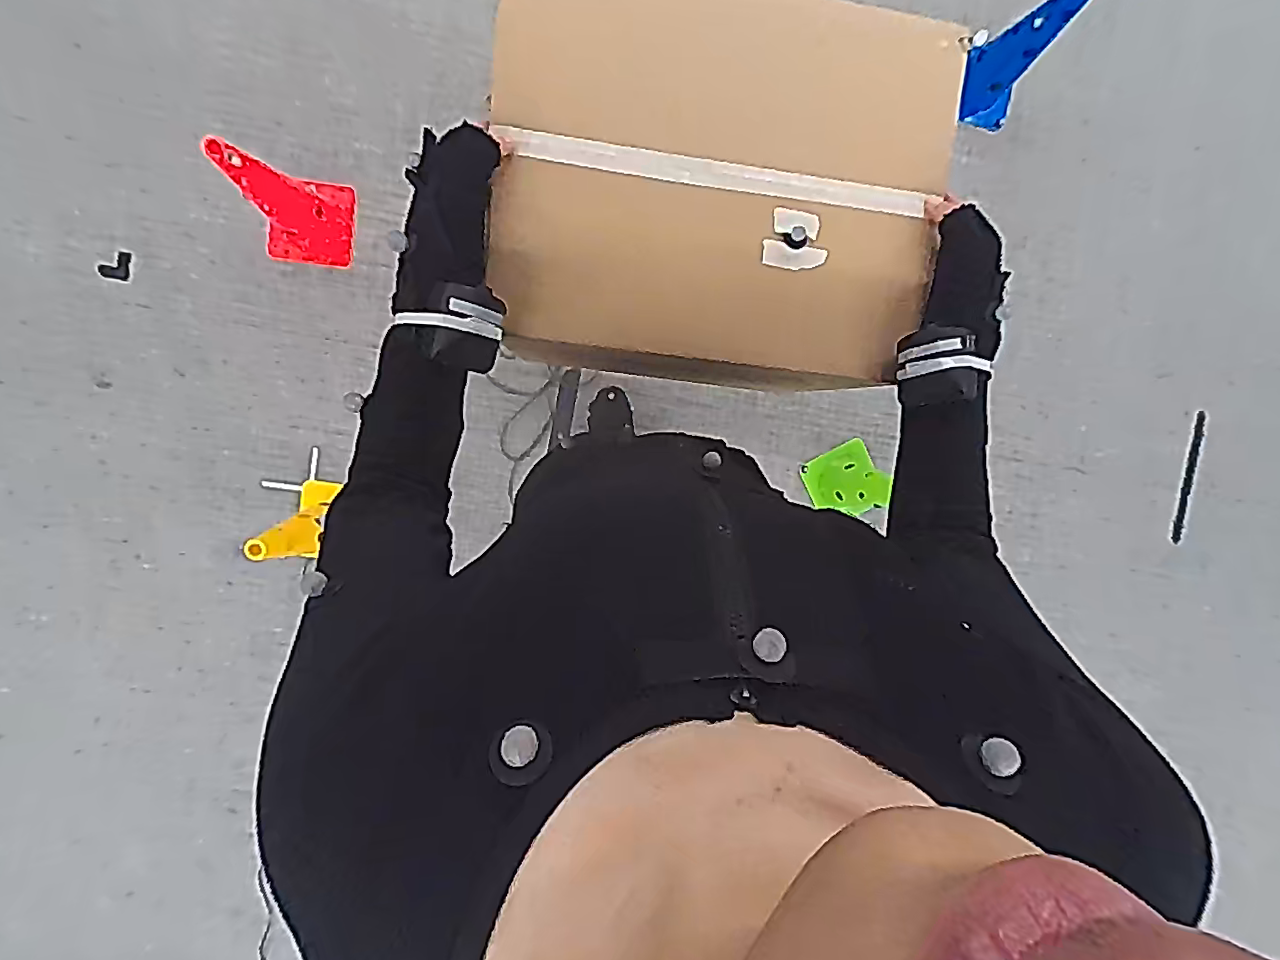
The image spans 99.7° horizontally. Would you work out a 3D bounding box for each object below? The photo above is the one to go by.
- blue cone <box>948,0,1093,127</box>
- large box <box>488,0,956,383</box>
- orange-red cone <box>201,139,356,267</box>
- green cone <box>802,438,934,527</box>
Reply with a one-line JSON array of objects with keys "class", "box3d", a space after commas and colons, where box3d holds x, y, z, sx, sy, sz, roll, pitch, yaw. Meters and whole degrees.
[{"class": "blue cone", "box3d": [0.933, -1.057, 1.300, 0.192, 0.380, 0.193, 13, 93, -7]}, {"class": "large box", "box3d": [0.058, -0.292, 0.624, 0.408, 0.320, 0.320, 5, 97, -7]}, {"class": "orange-red cone", "box3d": [-0.798, -0.622, 1.167, 0.198, 0.360, 0.199, 7, 95, -5]}, {"class": "green cone", "box3d": [0.589, 0.021, 1.335, 0.202, 0.368, 0.200, -28, 97, -4]}]
